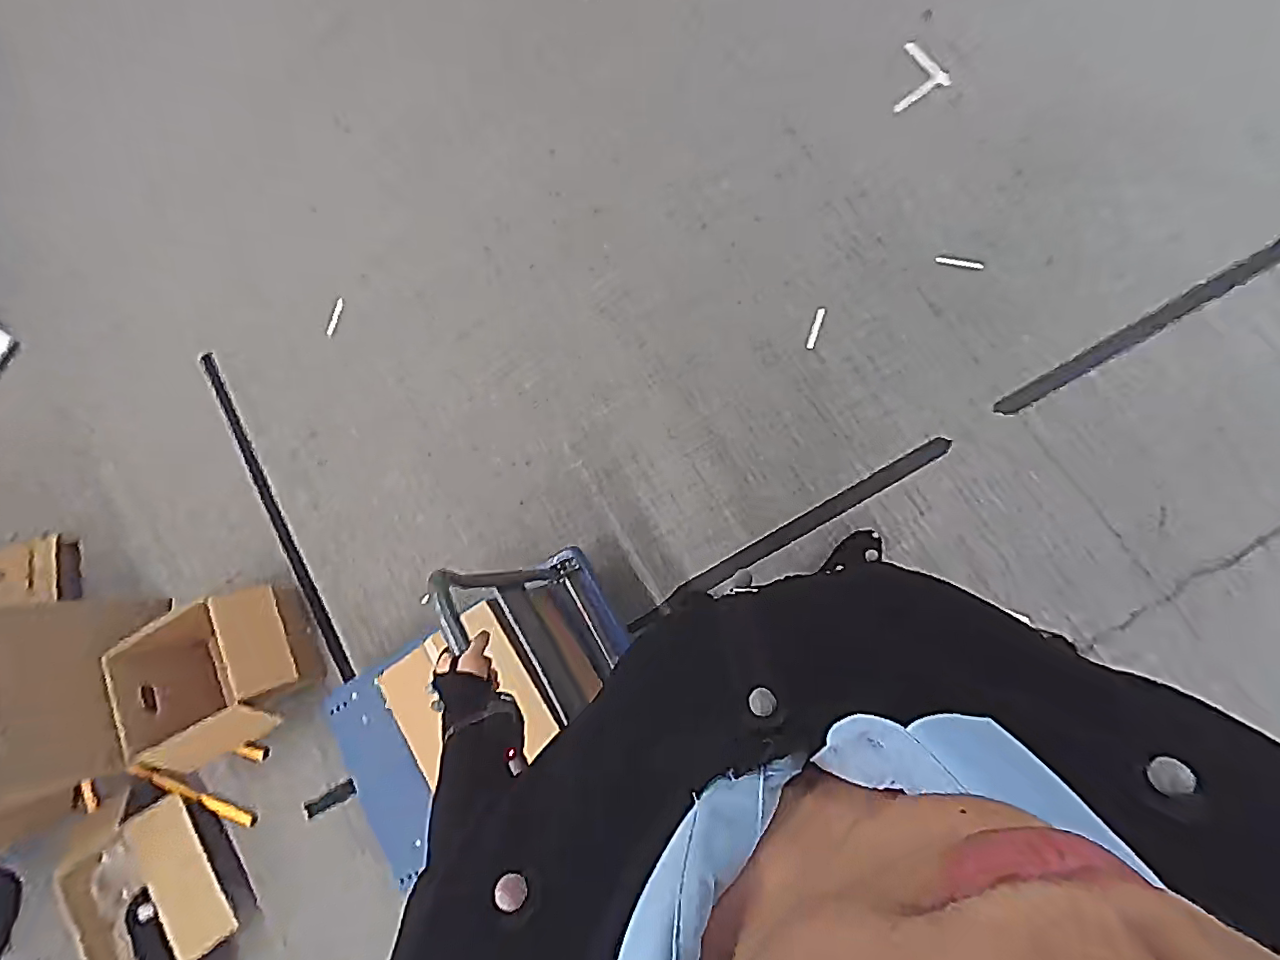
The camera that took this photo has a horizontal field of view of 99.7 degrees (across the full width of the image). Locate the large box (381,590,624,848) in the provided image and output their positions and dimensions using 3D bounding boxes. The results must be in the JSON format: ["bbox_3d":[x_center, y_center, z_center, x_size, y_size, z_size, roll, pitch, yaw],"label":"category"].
[{"bbox_3d":[-0.298,0.515,1.254,0.320,0.320,0.408,-36,77,6],"label":"large box"}]
